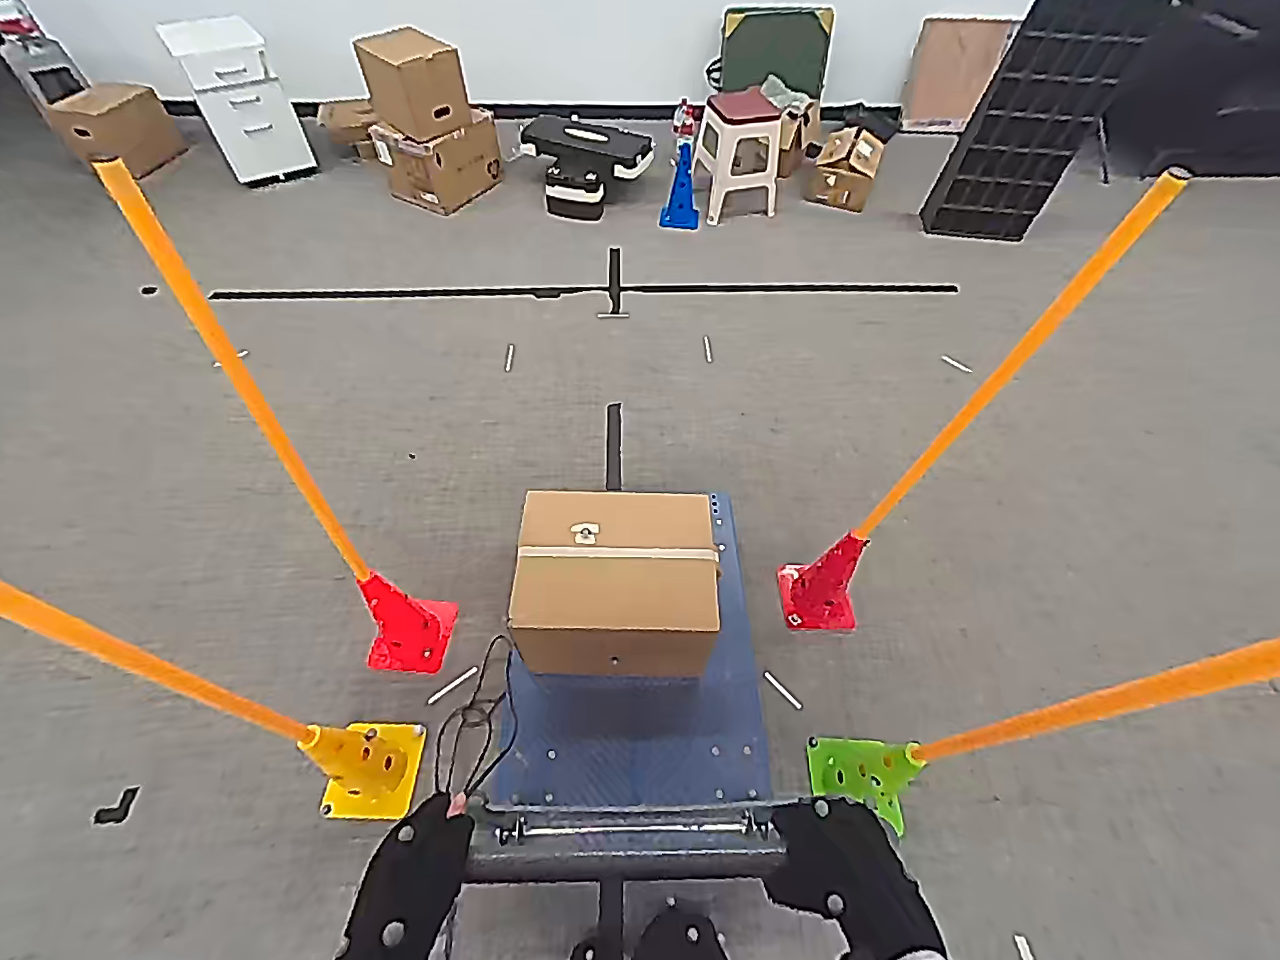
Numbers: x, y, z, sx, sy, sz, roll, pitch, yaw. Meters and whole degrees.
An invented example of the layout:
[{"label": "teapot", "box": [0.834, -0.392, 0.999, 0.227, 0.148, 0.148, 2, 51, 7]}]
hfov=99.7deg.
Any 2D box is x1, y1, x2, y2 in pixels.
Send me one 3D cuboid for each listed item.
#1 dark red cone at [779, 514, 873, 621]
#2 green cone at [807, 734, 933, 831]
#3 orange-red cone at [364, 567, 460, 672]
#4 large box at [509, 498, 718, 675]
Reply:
[{"label": "dark red cone", "box": [0.519, 0.215, 1.427, 0.201, 0.394, 0.202, 0, 54, -4]}, {"label": "green cone", "box": [0.515, 0.614, 1.150, 0.202, 0.368, 0.200, 3, 53, -1]}, {"label": "orange-red cone", "box": [-0.608, 0.315, 1.348, 0.198, 0.360, 0.199, 6, 52, 2]}, {"label": "large box", "box": [-0.050, 0.250, 1.231, 0.408, 0.320, 0.320, 1, 54, 0]}]
